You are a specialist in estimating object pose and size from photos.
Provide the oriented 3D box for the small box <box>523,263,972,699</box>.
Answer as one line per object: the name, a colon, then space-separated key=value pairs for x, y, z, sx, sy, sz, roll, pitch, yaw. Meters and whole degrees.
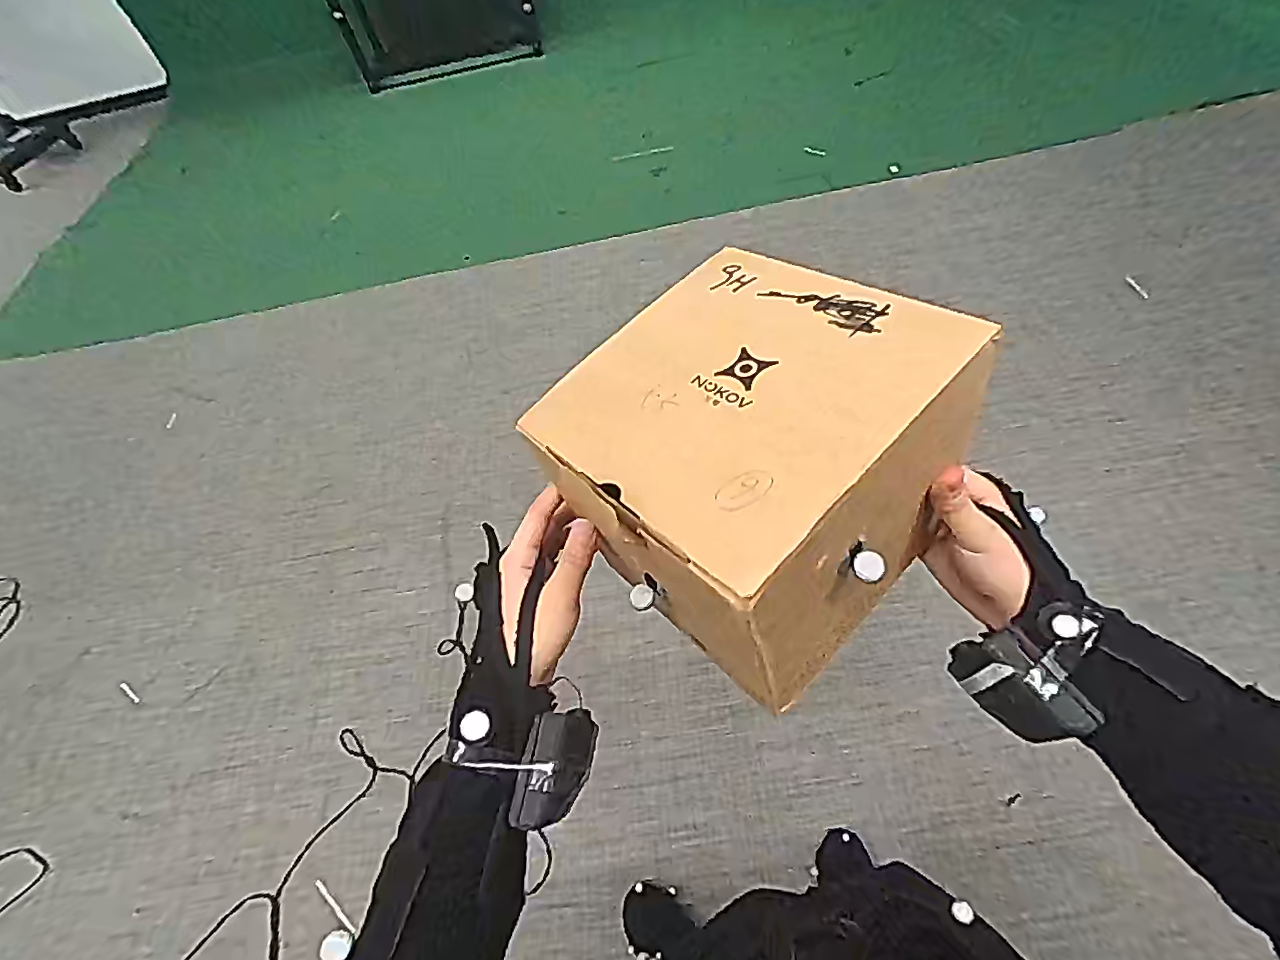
small box: x=0.067 y=0.003 z=0.338 sx=0.179 sy=0.176 sz=0.168 roll=-43 pitch=52 yaw=-15
